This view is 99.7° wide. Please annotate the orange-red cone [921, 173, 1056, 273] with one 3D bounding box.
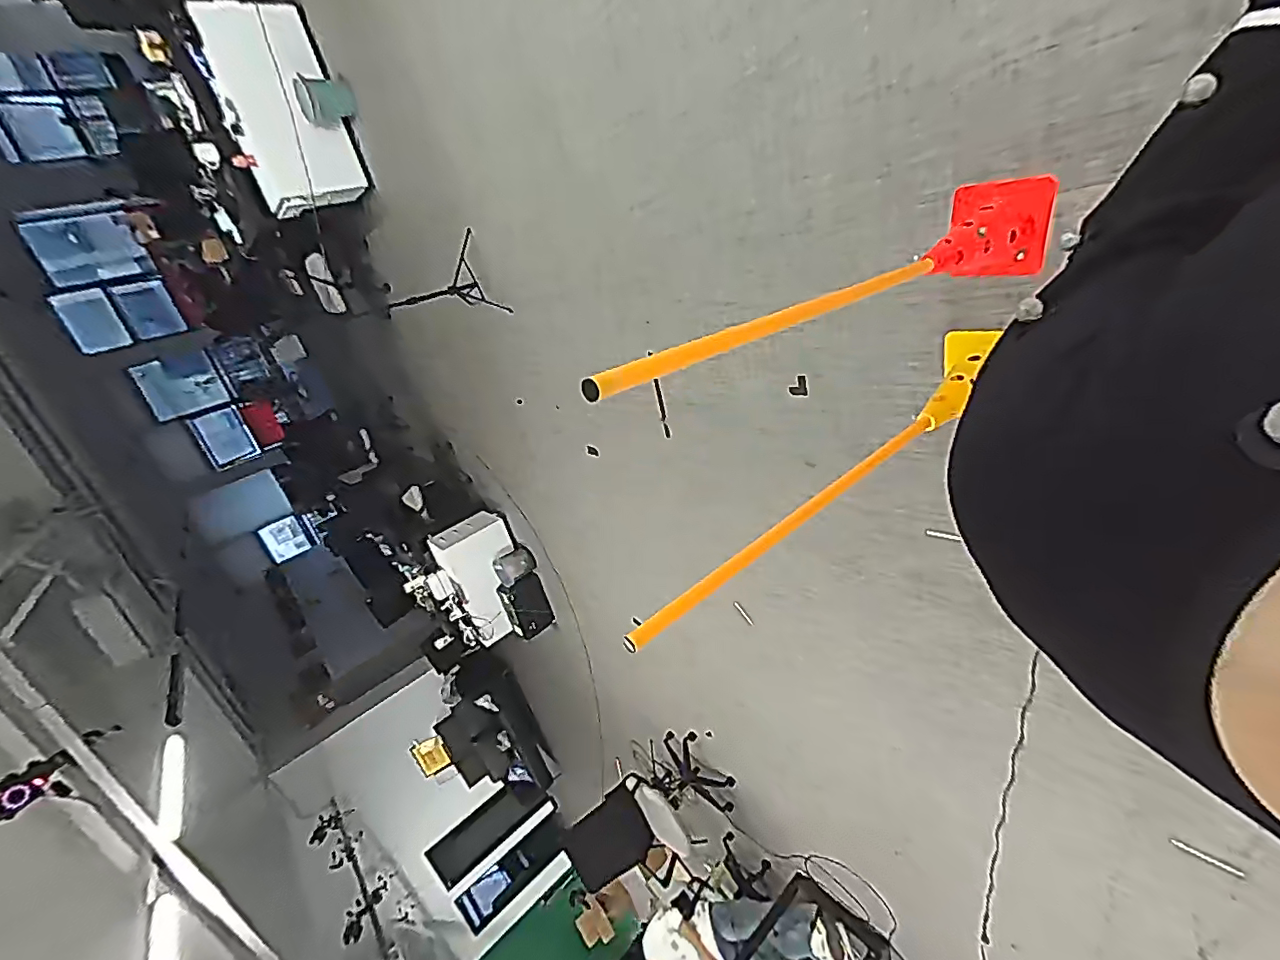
[{"bbox_3d":[0.675,-0.496,1.118,0.198,0.360,0.199,21,131,44],"label":"orange-red cone"}]
